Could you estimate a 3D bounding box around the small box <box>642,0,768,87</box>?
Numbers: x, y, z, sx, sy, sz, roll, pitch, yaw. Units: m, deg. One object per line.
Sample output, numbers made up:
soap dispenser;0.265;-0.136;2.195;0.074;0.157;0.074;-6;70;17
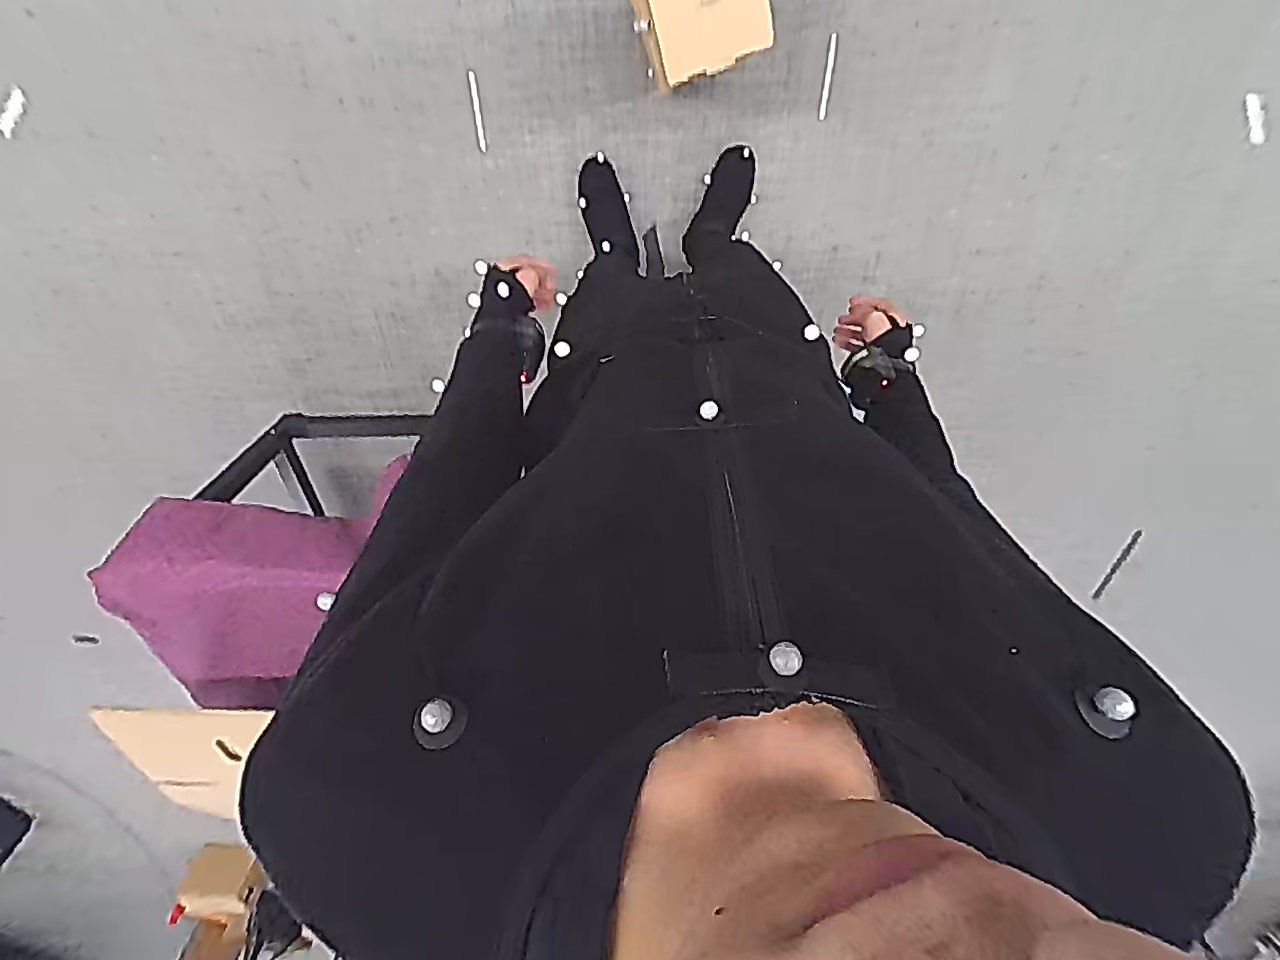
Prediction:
small box;0.091;-0.738;0.832;0.168;0.176;0.179;-14;126;10
